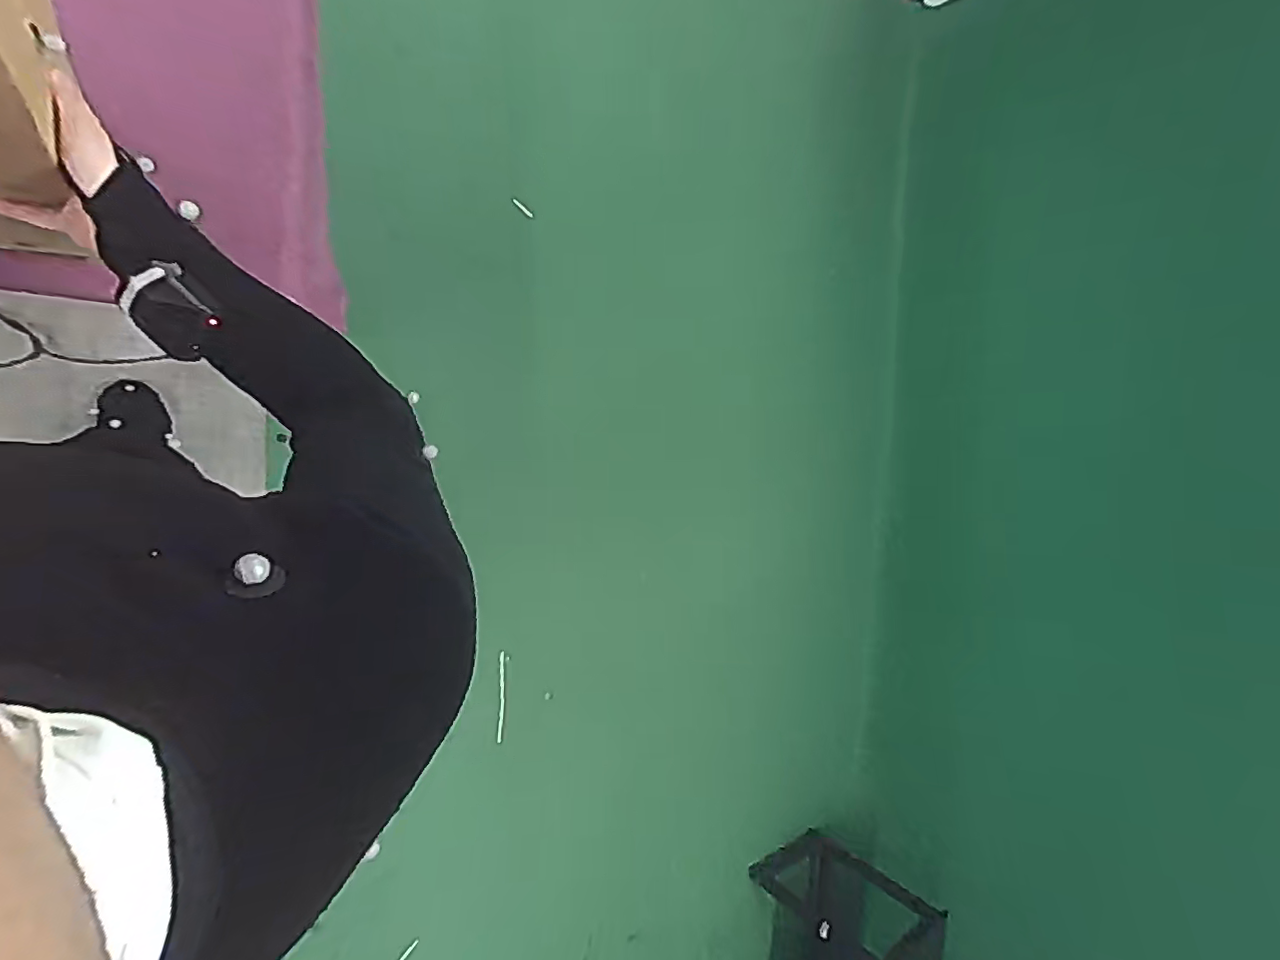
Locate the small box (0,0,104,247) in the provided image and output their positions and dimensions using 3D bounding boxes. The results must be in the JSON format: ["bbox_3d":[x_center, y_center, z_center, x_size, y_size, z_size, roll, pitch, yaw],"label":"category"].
[{"bbox_3d":[-0.630,-0.339,0.499,0.168,0.176,0.179,-7,98,-38],"label":"small box"}]

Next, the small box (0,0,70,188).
[{"bbox_3d":[-0.526,-0.332,0.368,0.168,0.176,0.179,-5,95,-39],"label":"small box"}]
